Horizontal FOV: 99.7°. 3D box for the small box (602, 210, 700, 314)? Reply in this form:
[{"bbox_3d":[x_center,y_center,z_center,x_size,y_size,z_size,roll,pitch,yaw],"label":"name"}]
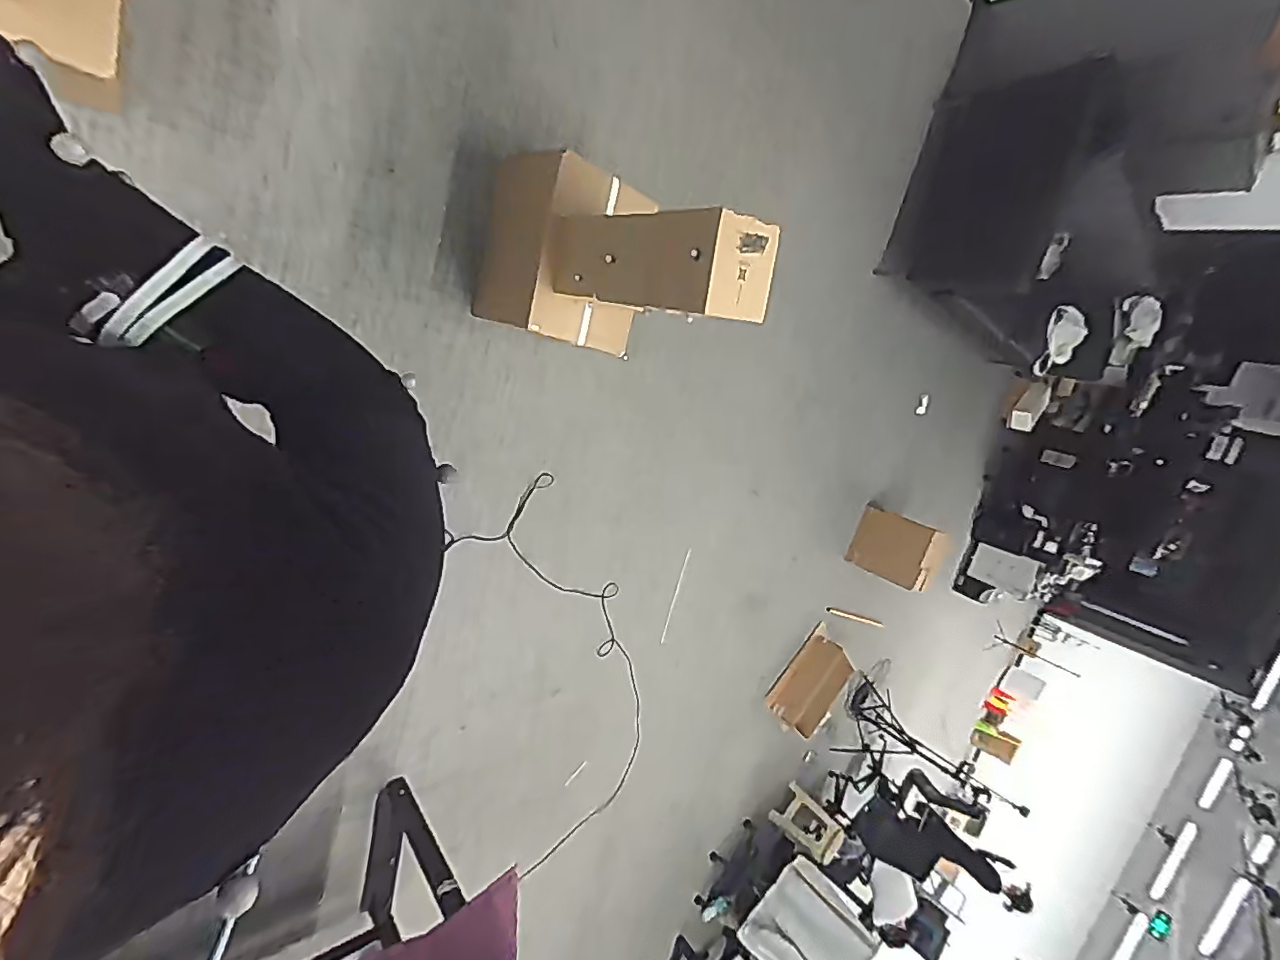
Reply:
[{"bbox_3d":[0.035,-0.461,1.152,0.168,0.176,0.179,-6,113,-39],"label":"small box"}]

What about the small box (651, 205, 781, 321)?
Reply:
[{"bbox_3d":[0.138,-0.410,1.033,0.168,0.176,0.179,-7,113,-38],"label":"small box"}]

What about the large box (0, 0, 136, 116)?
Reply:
[{"bbox_3d":[-0.895,-0.800,0.728,0.320,0.320,0.408,4,105,-43],"label":"large box"}]
